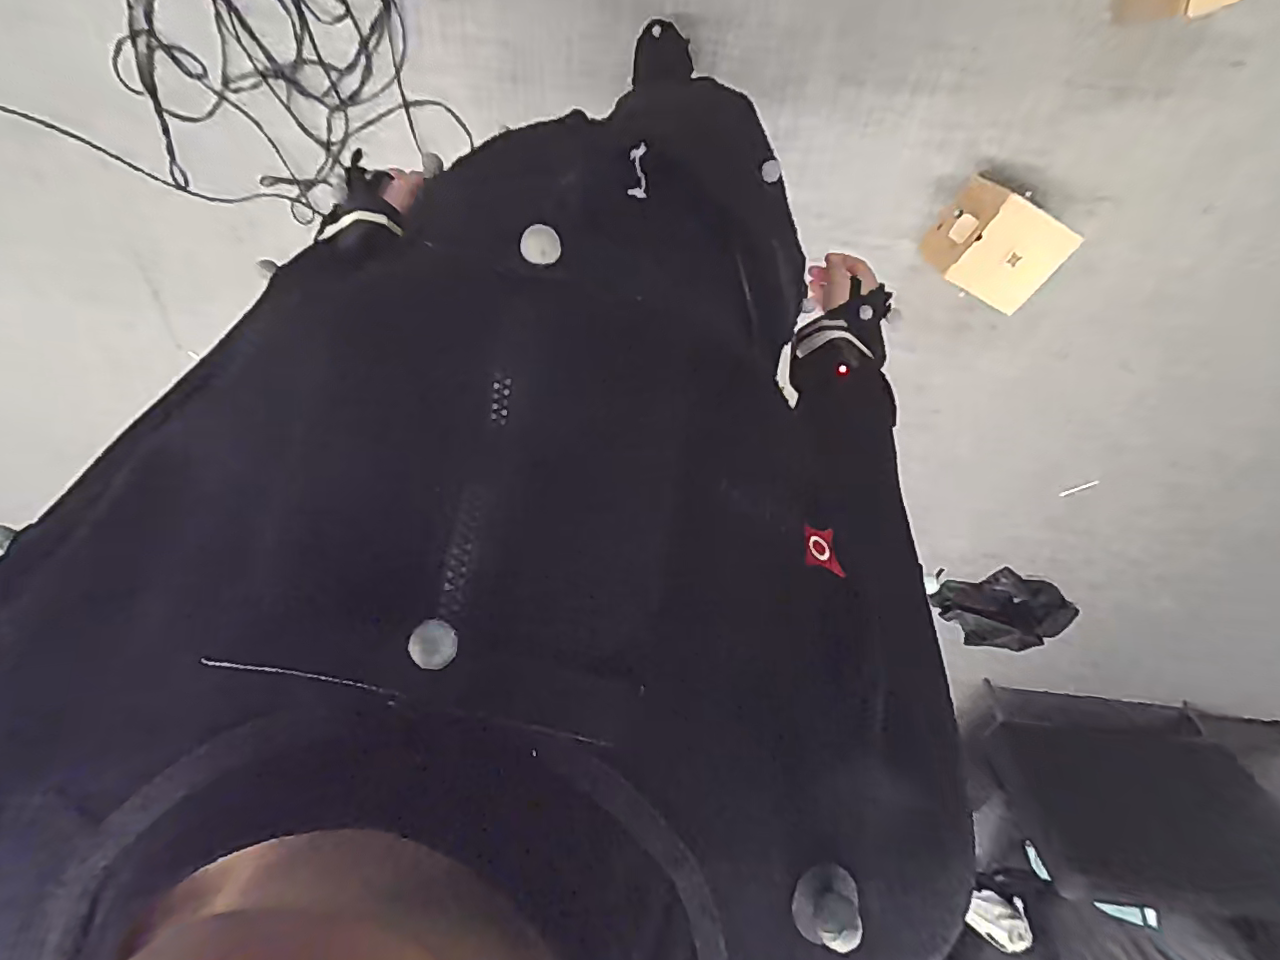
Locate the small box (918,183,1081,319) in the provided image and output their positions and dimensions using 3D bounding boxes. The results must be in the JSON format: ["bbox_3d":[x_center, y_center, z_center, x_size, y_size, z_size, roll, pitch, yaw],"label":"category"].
[{"bbox_3d":[0.692,-0.455,1.064,0.179,0.176,0.168,22,128,-13],"label":"small box"}]
